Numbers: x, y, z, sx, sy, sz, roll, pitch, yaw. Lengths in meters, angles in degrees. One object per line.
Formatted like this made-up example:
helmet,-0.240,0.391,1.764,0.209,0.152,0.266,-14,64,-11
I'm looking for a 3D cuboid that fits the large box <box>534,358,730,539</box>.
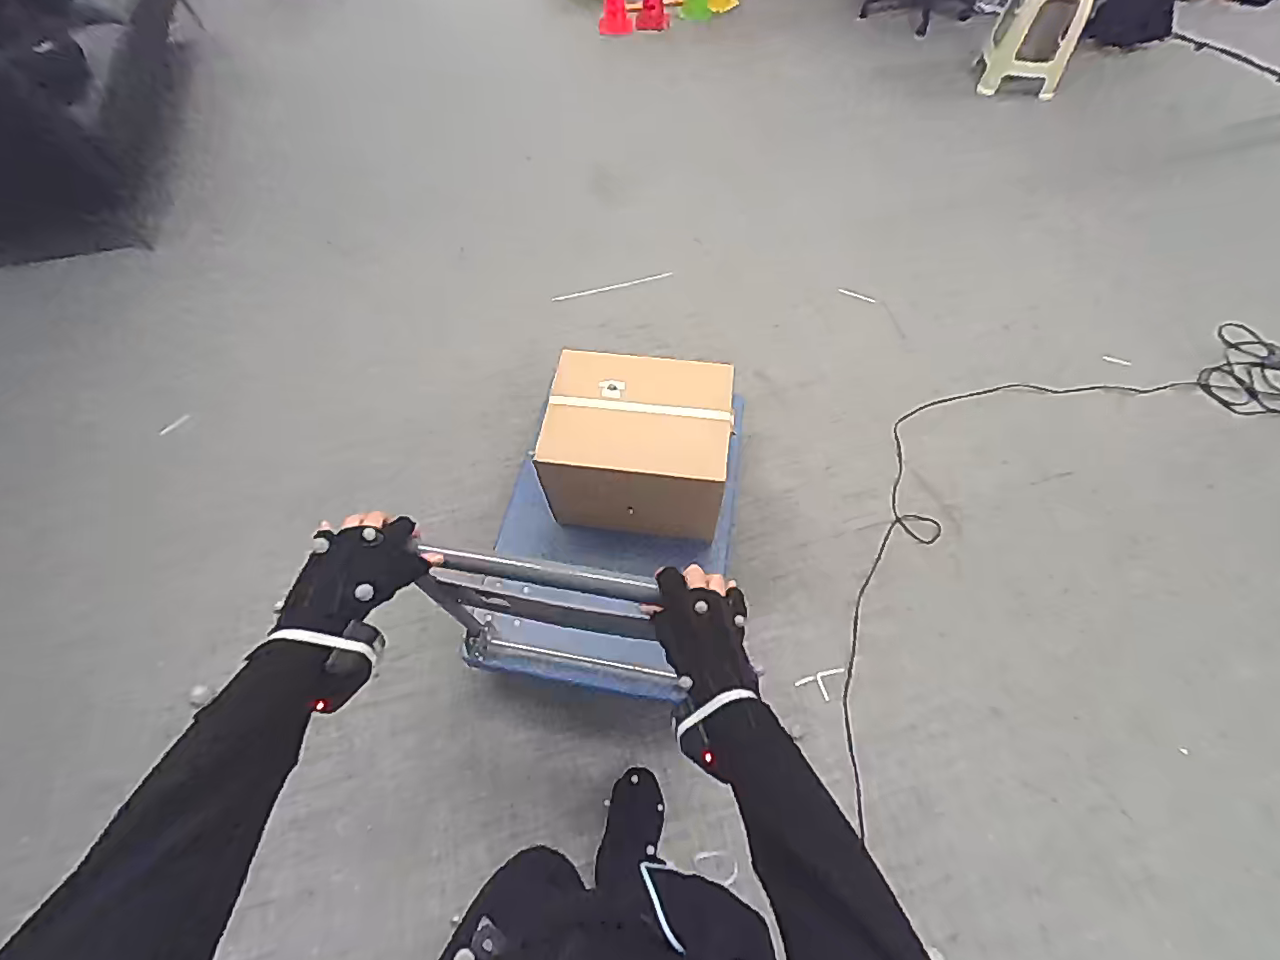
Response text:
large box,0.002,-0.068,1.315,0.408,0.320,0.320,6,60,7
